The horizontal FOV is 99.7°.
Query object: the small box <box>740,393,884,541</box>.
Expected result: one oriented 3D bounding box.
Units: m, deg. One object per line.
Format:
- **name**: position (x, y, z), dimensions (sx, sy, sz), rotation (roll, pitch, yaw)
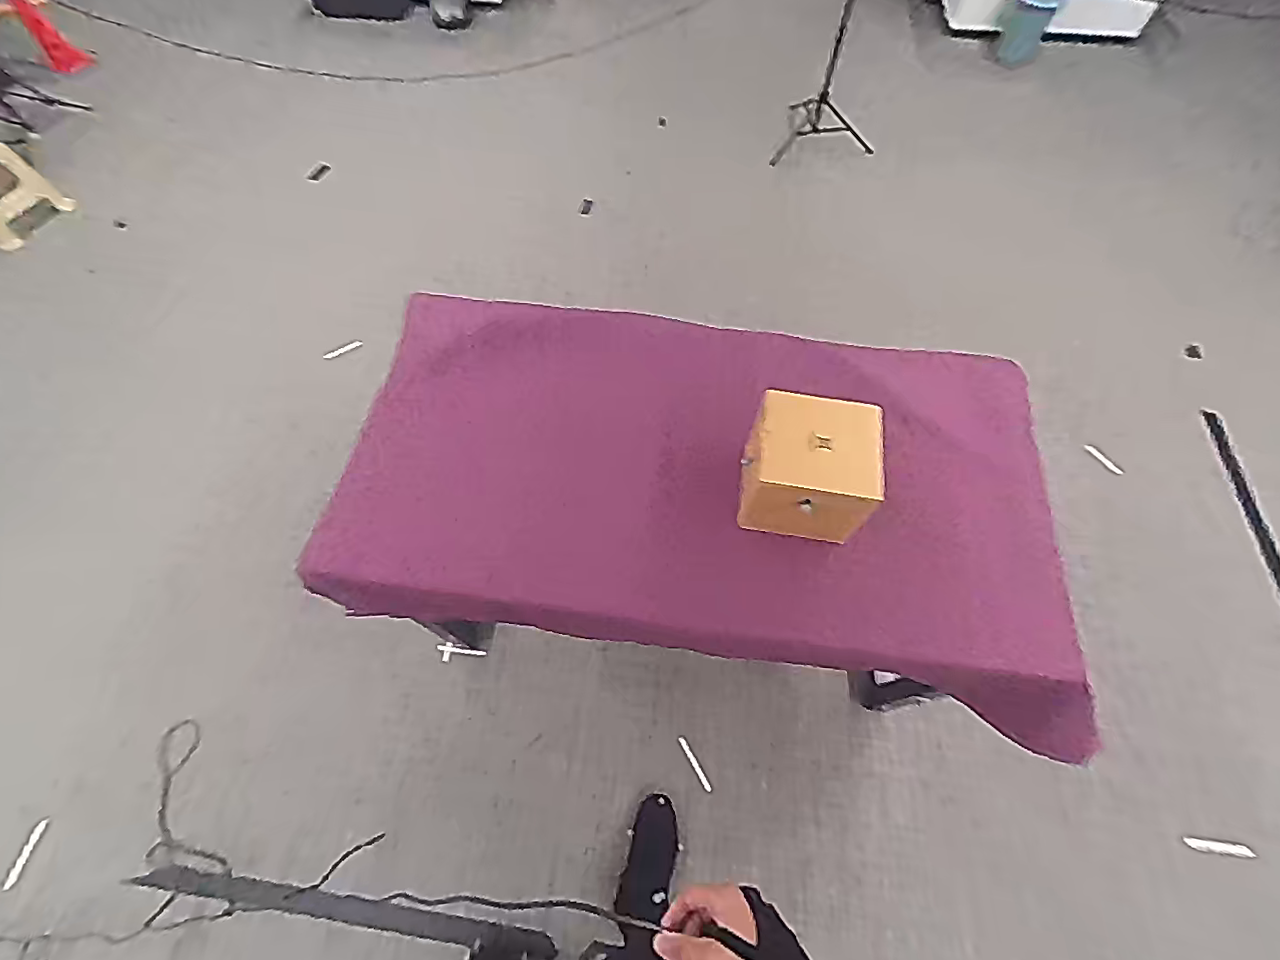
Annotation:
- **small box**: position (0.266, -0.013, 0.859), dimensions (0.179, 0.176, 0.168), rotation (9, 63, 6)
